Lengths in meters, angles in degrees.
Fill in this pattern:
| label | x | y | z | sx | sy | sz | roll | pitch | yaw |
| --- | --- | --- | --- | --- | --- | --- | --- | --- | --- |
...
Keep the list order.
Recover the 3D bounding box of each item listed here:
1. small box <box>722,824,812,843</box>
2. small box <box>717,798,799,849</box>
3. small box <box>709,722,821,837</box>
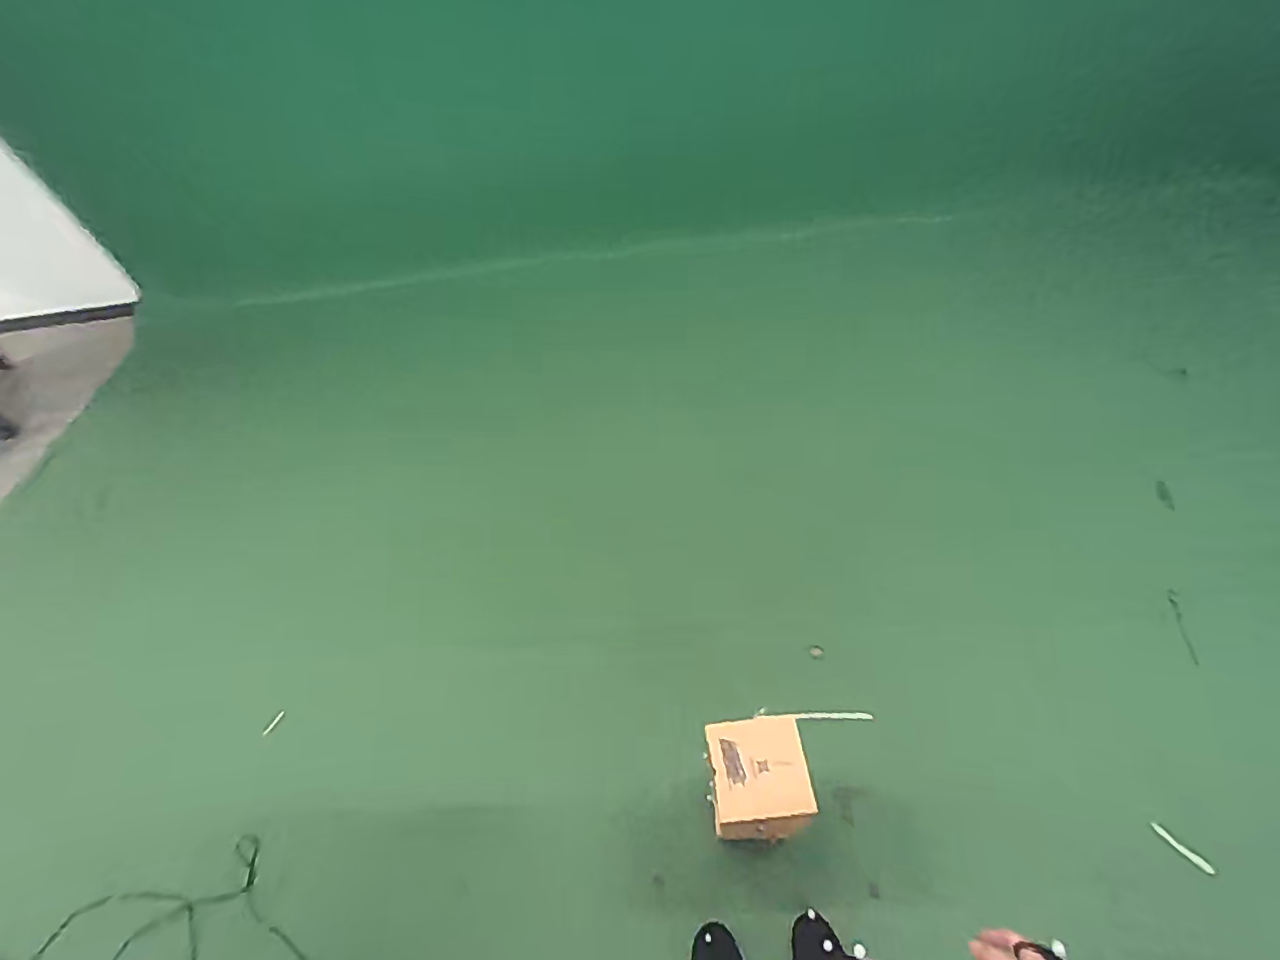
| label | x | y | z | sx | sy | sz | roll | pitch | yaw |
| --- | --- | --- | --- | --- | --- | --- | --- | --- | --- |
| small box | 0.261 | 0.686 | 1.180 | 0.179 | 0.176 | 0.168 | -7 | 52 | 5 |
| small box | 0.276 | 0.786 | 1.307 | 0.179 | 0.176 | 0.168 | -5 | 52 | 6 |
| small box | 0.236 | 0.586 | 1.053 | 0.179 | 0.176 | 0.168 | -8 | 53 | 3 |
